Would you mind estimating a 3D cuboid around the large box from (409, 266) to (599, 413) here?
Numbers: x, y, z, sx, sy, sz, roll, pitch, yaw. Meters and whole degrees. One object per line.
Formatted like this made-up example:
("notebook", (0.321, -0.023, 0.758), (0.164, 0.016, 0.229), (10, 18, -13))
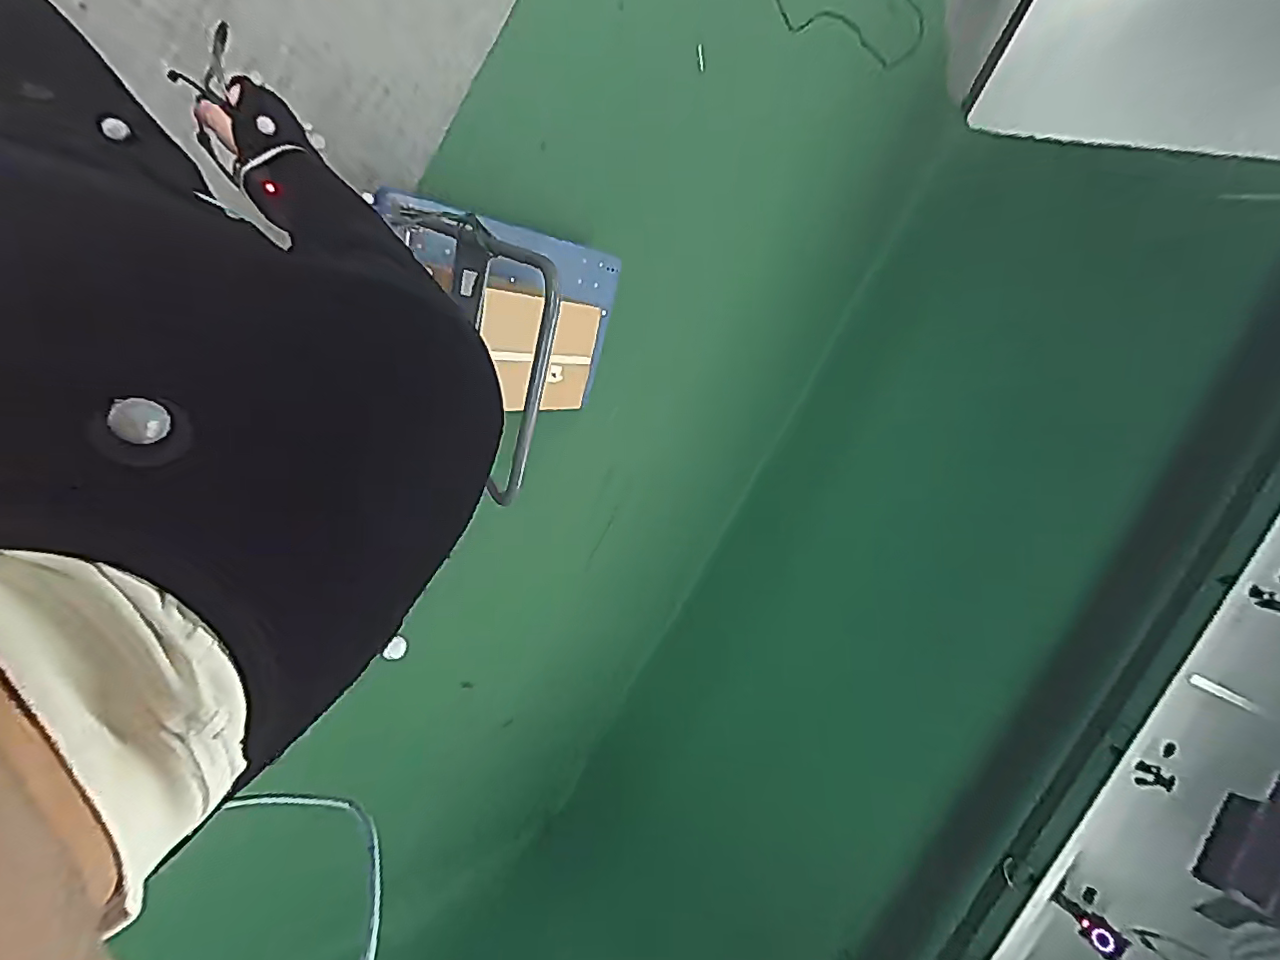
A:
("large box", (-0.389, -0.396, 1.540), (0.408, 0.320, 0.320), (-12, 125, -50))
